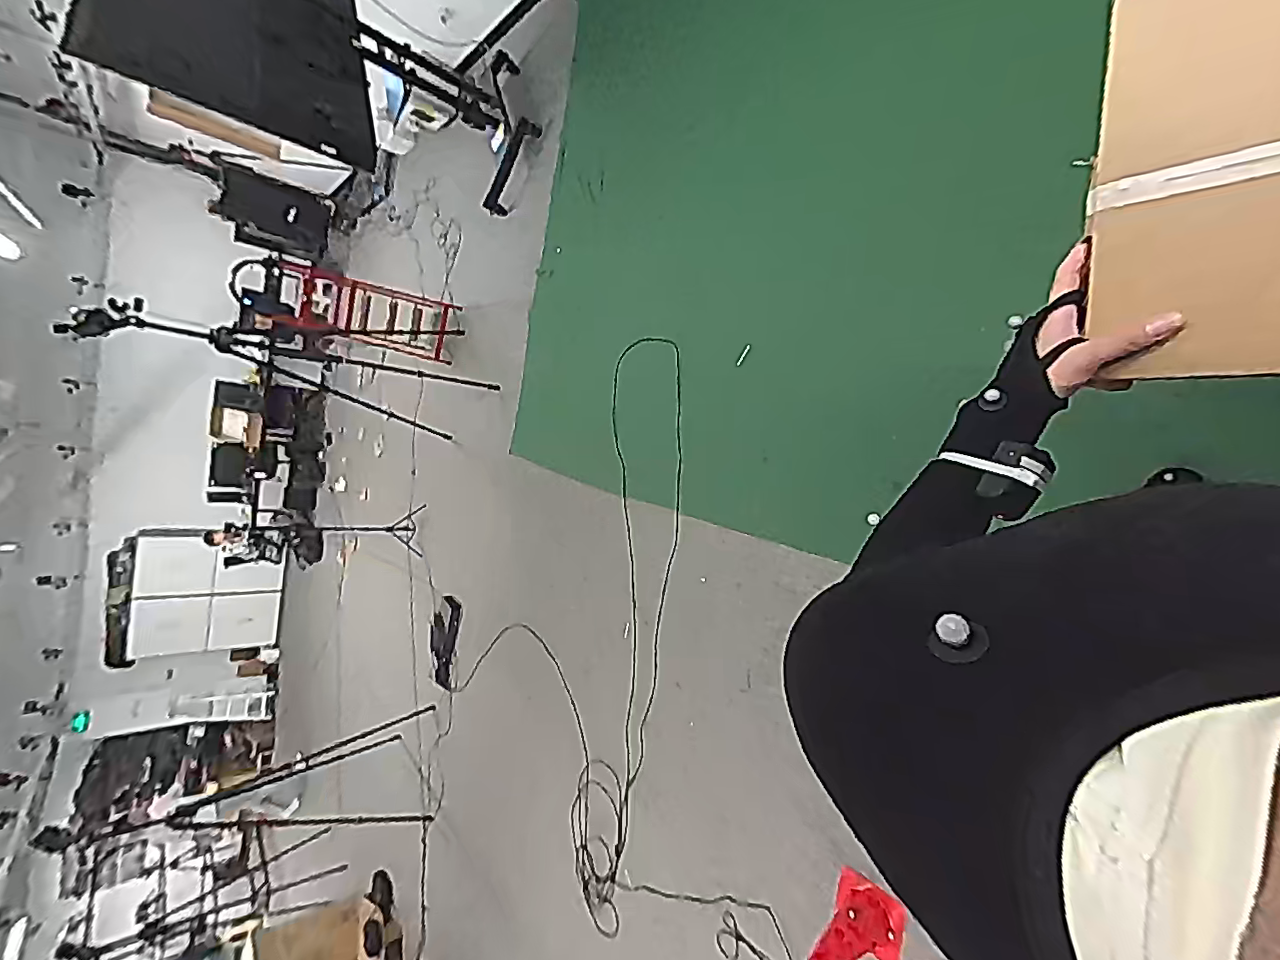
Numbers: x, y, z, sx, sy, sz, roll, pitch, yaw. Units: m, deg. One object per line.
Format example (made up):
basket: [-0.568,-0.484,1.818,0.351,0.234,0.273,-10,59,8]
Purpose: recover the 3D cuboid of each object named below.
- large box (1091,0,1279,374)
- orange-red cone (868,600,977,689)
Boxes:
large box: [0.647,-0.255,0.427,0.408,0.320,0.320,7,104,48]
orange-red cone: [0.708,0.454,1.443,0.199,0.360,0.198,26,105,48]
